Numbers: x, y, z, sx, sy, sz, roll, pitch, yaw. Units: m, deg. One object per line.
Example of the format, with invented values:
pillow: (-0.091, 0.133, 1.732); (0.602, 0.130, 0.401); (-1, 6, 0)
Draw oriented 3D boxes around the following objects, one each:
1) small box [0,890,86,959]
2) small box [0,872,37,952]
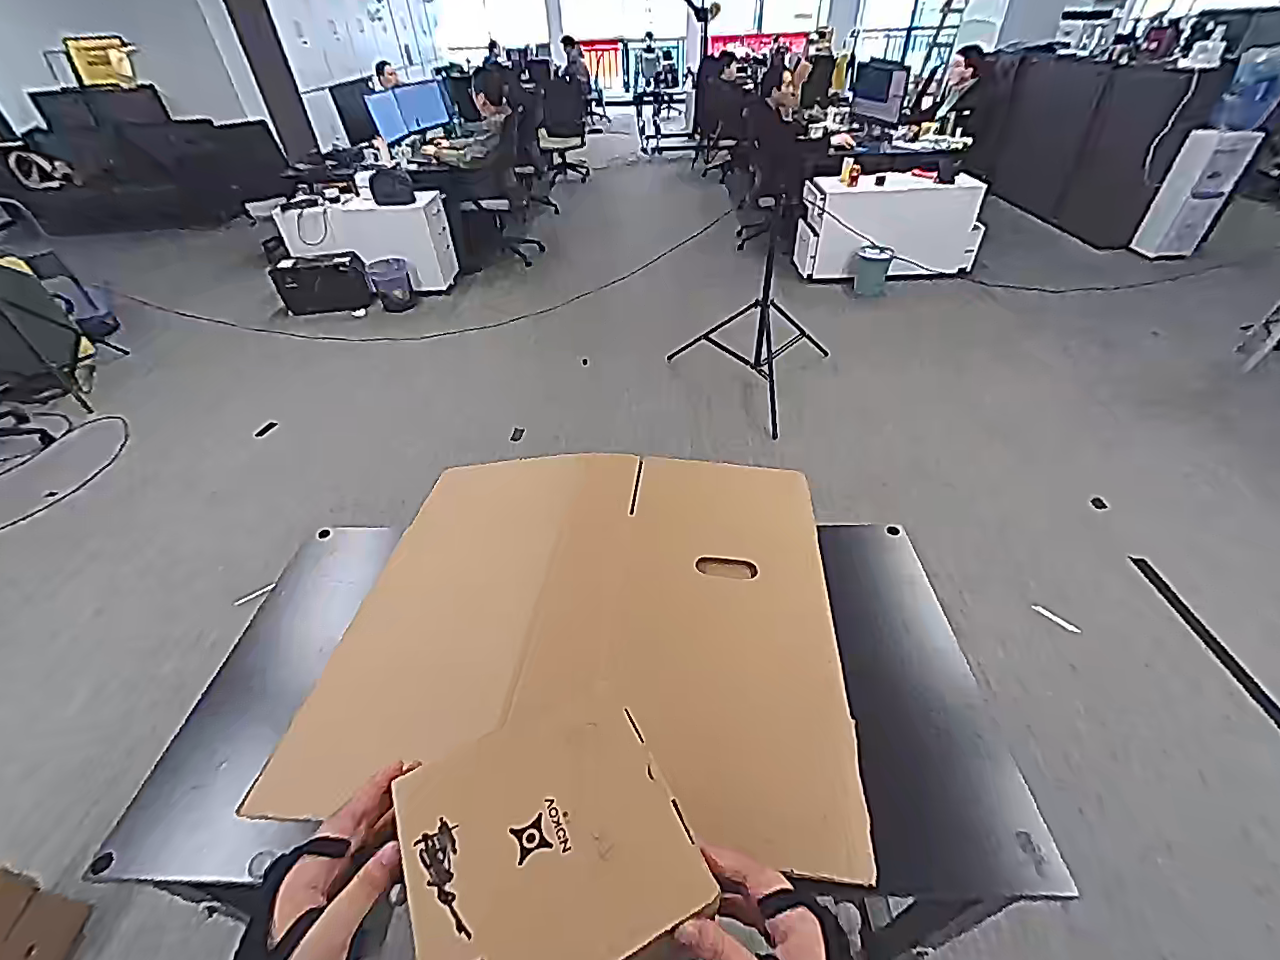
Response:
small box: (-1.338, 0.991, 1.132); (0.168, 0.176, 0.179); (-4, 41, -1)
small box: (-1.344, 0.863, 1.031); (0.168, 0.176, 0.179); (-5, 40, -3)
